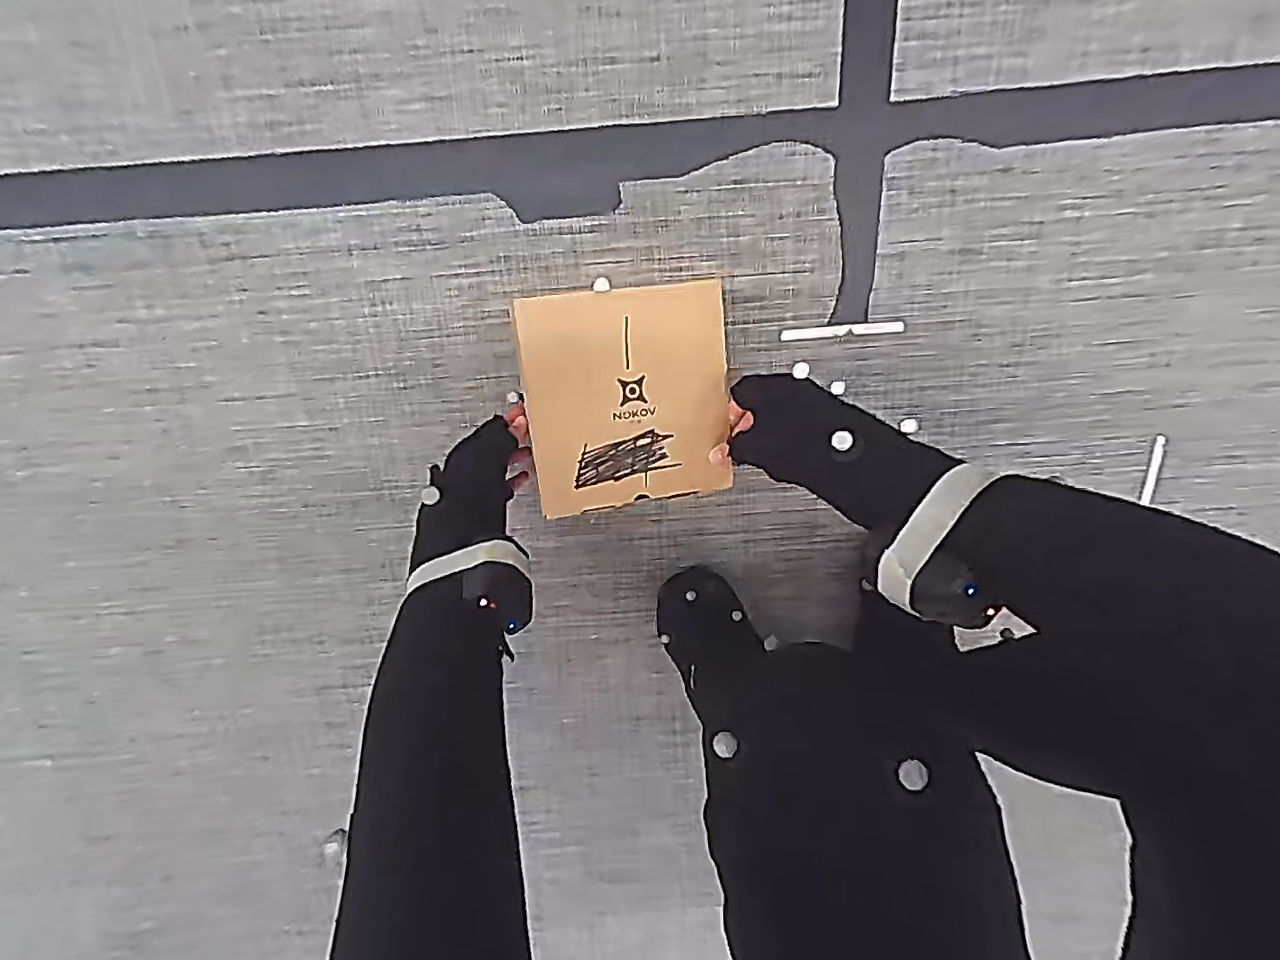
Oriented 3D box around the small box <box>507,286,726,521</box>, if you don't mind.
[{"bbox_3d":[-0.028,-0.080,0.510,0.168,0.176,0.179,-9,106,-11],"label":"small box"}]
